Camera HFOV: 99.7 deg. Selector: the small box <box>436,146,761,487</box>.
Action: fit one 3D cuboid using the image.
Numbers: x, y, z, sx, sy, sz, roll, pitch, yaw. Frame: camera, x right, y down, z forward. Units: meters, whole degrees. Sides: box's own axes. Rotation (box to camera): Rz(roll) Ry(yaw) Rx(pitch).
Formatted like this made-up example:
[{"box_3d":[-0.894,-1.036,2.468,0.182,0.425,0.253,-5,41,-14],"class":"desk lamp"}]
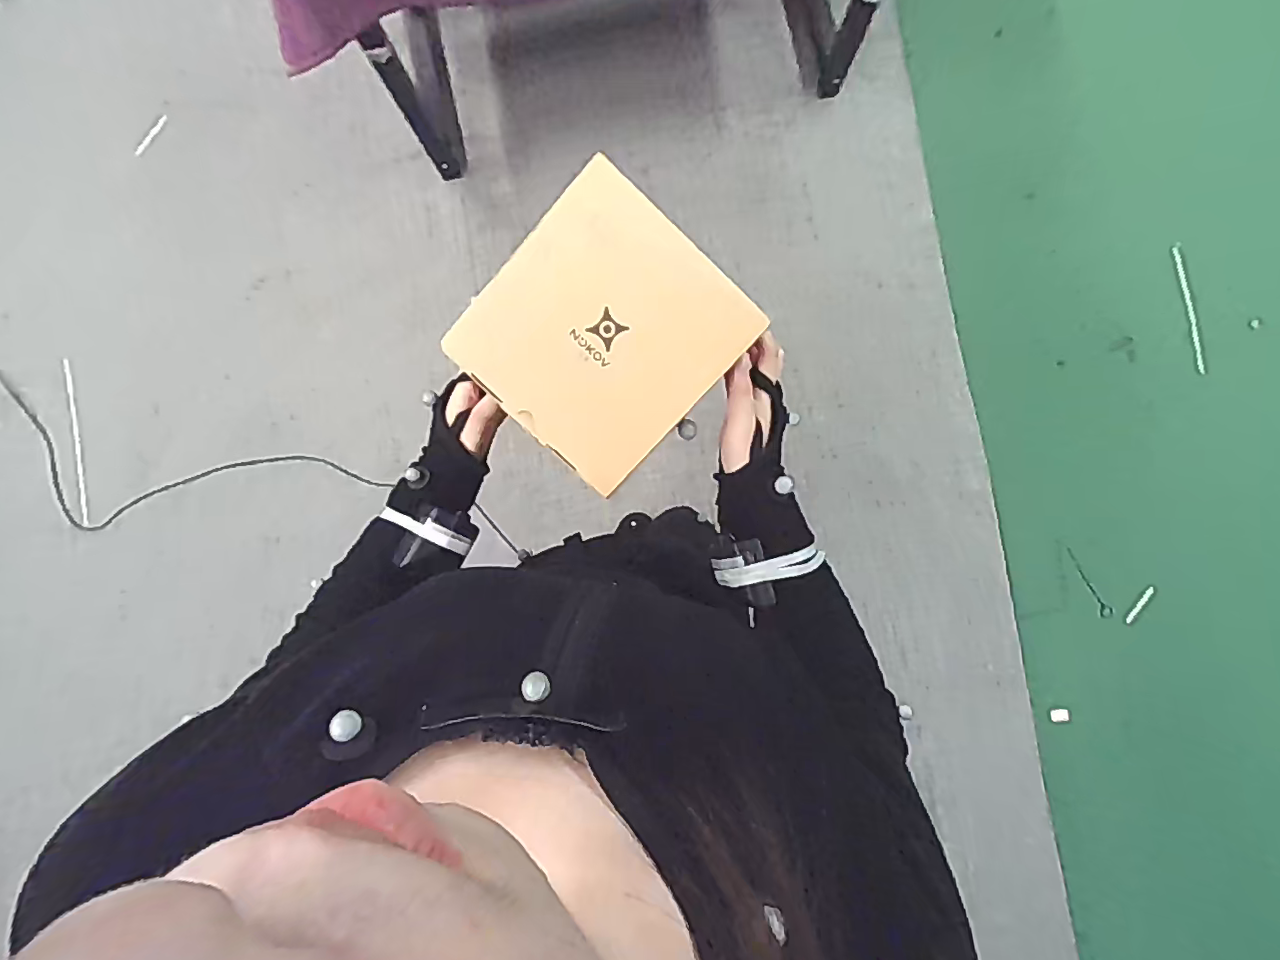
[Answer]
[{"box_3d":[-0.029,-0.123,0.458,0.168,0.176,0.179,42,99,-4],"class":"small box"}]
